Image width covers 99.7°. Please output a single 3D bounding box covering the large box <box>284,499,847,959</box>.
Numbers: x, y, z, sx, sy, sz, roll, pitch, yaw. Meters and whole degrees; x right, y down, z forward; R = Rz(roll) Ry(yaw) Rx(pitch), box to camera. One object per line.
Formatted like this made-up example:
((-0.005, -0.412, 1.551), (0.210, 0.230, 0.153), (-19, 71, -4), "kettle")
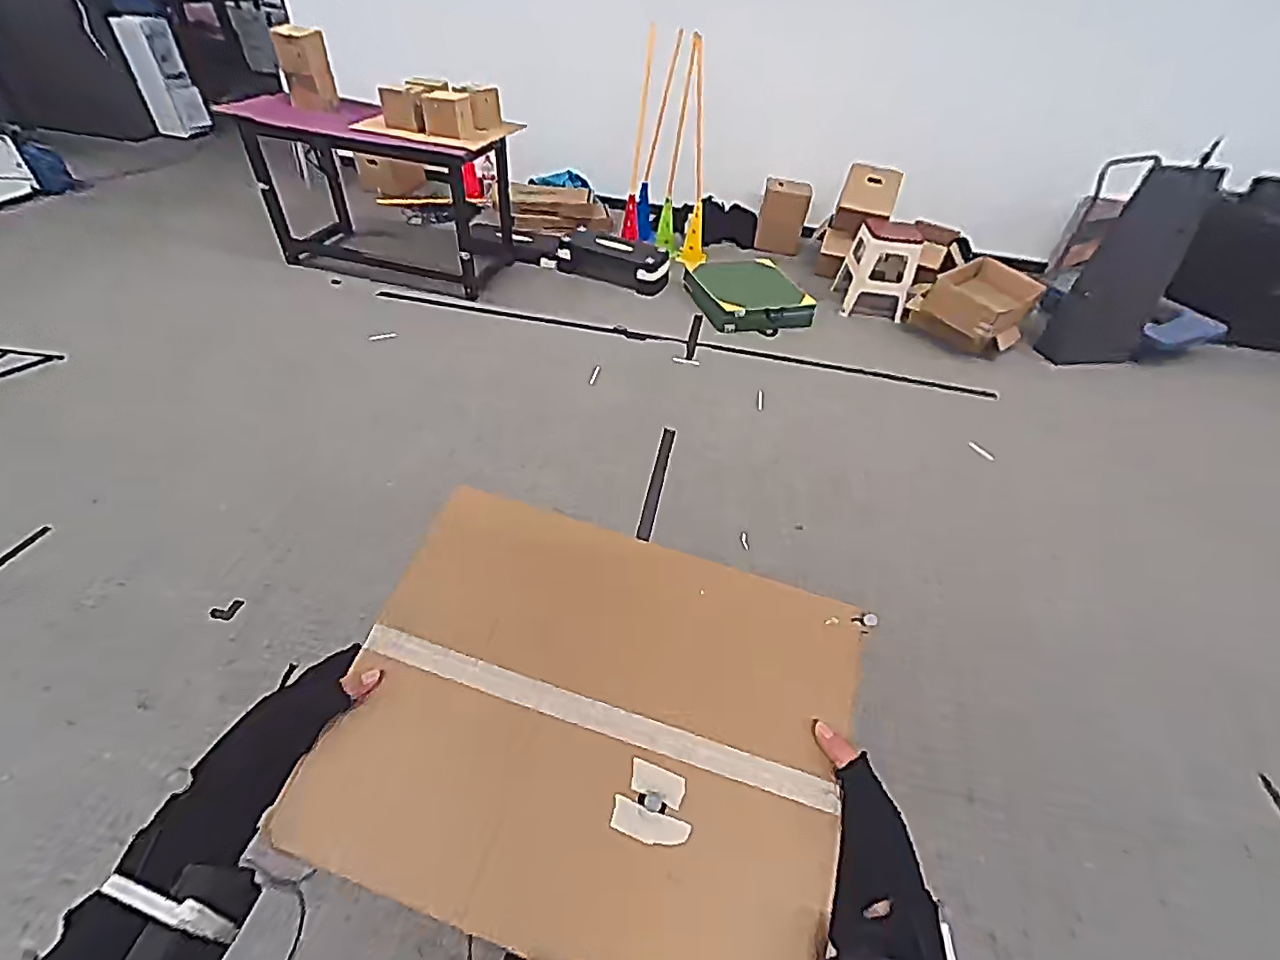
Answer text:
((-0.045, 0.267, 0.585), (0.408, 0.320, 0.320), (16, 63, 6), "large box")
